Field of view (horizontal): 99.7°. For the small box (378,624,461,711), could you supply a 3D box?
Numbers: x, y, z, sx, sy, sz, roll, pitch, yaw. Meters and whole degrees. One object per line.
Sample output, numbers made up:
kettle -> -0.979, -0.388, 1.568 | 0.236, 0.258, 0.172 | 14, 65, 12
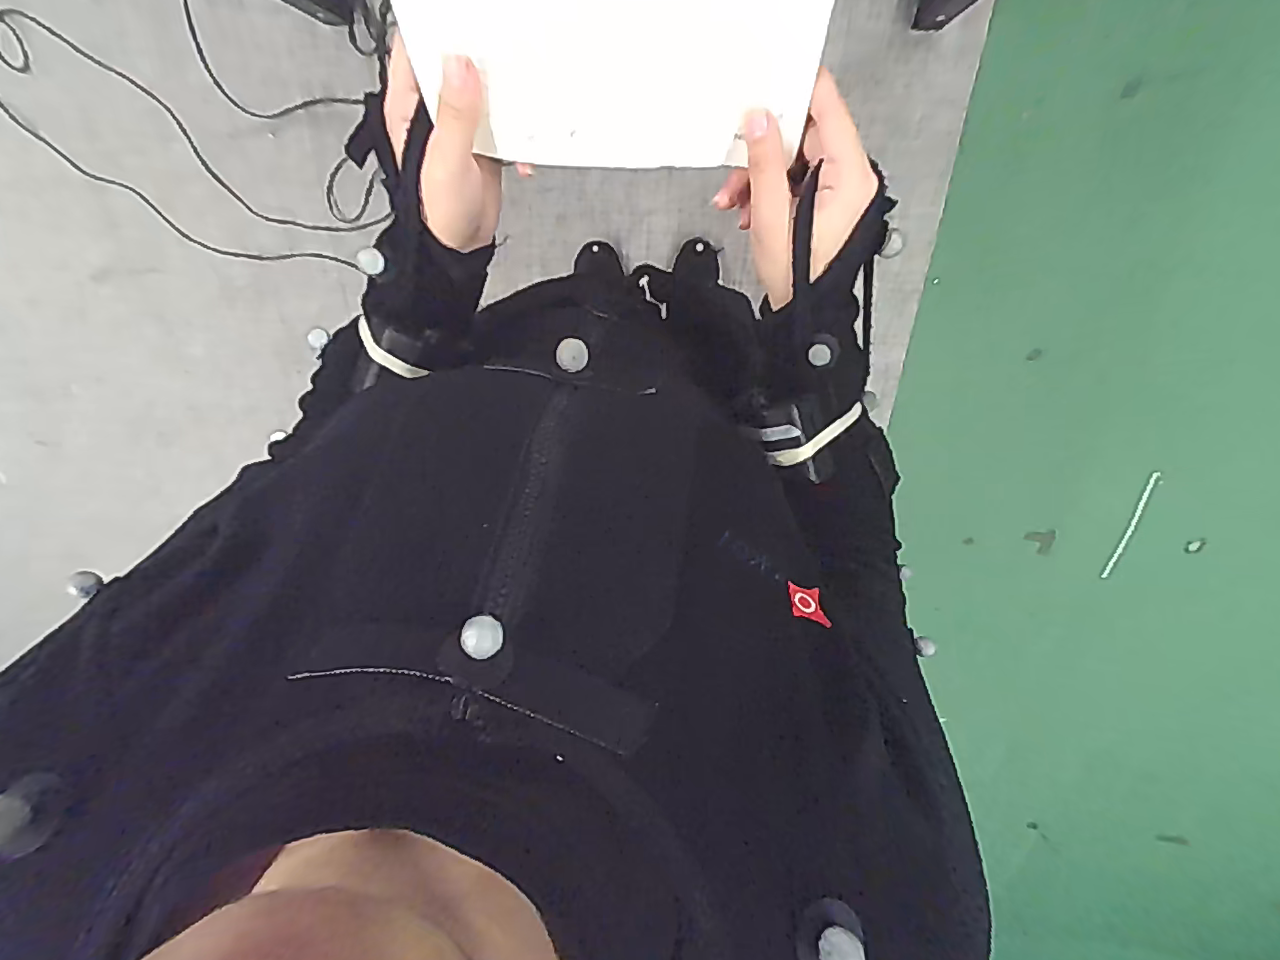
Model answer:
small box -> -0.685, 0.577, 1.685 | 0.179, 0.176, 0.168 | 18, 116, -5
